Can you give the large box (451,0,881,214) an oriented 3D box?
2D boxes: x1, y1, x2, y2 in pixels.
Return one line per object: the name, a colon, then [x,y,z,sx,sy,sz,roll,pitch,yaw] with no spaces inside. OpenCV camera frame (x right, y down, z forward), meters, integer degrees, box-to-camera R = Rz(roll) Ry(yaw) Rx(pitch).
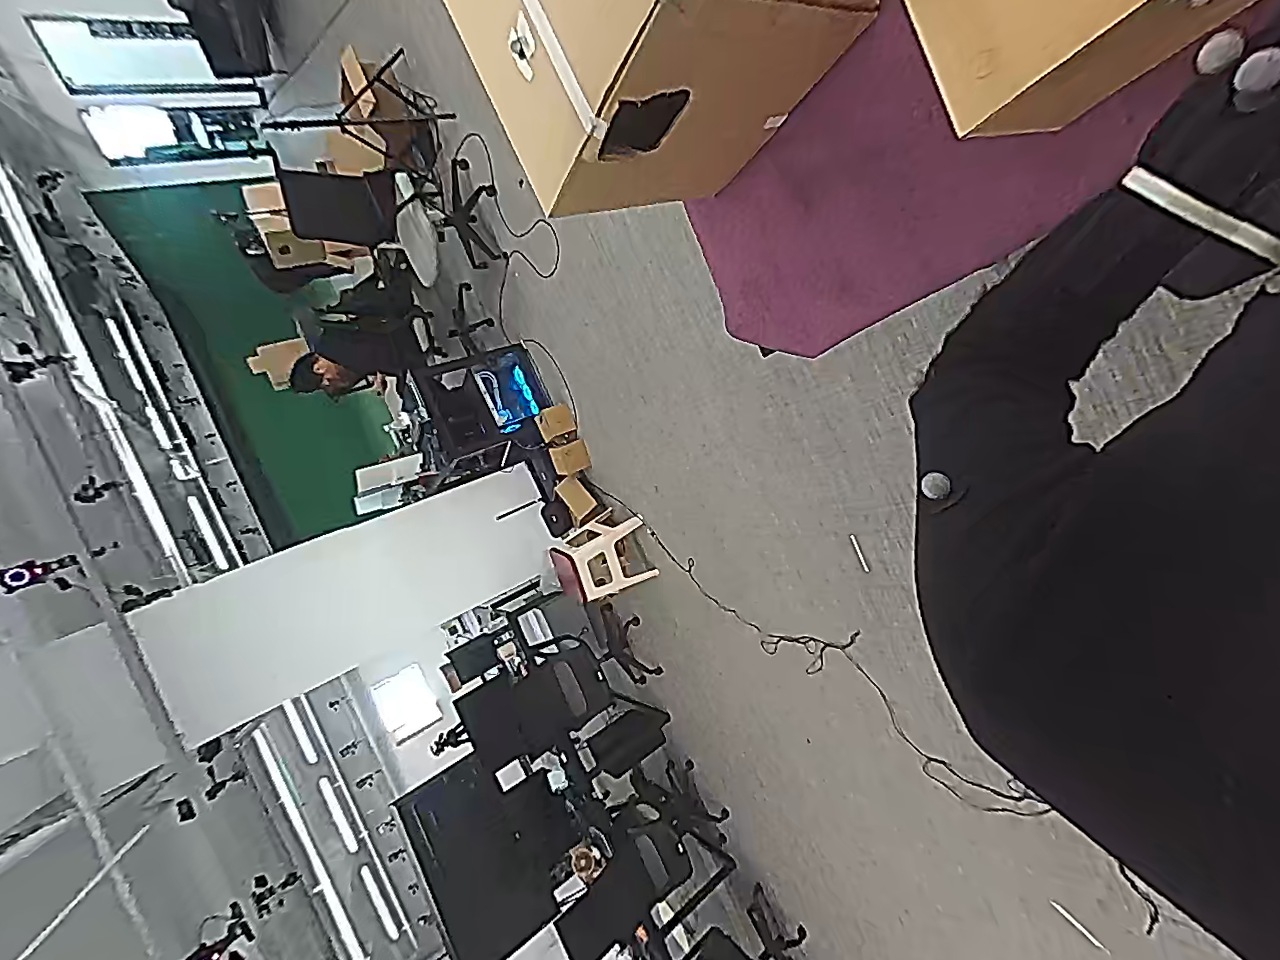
large box: [-0.006,-0.604,0.633,0.408,0.320,0.320,63,150,-1]
